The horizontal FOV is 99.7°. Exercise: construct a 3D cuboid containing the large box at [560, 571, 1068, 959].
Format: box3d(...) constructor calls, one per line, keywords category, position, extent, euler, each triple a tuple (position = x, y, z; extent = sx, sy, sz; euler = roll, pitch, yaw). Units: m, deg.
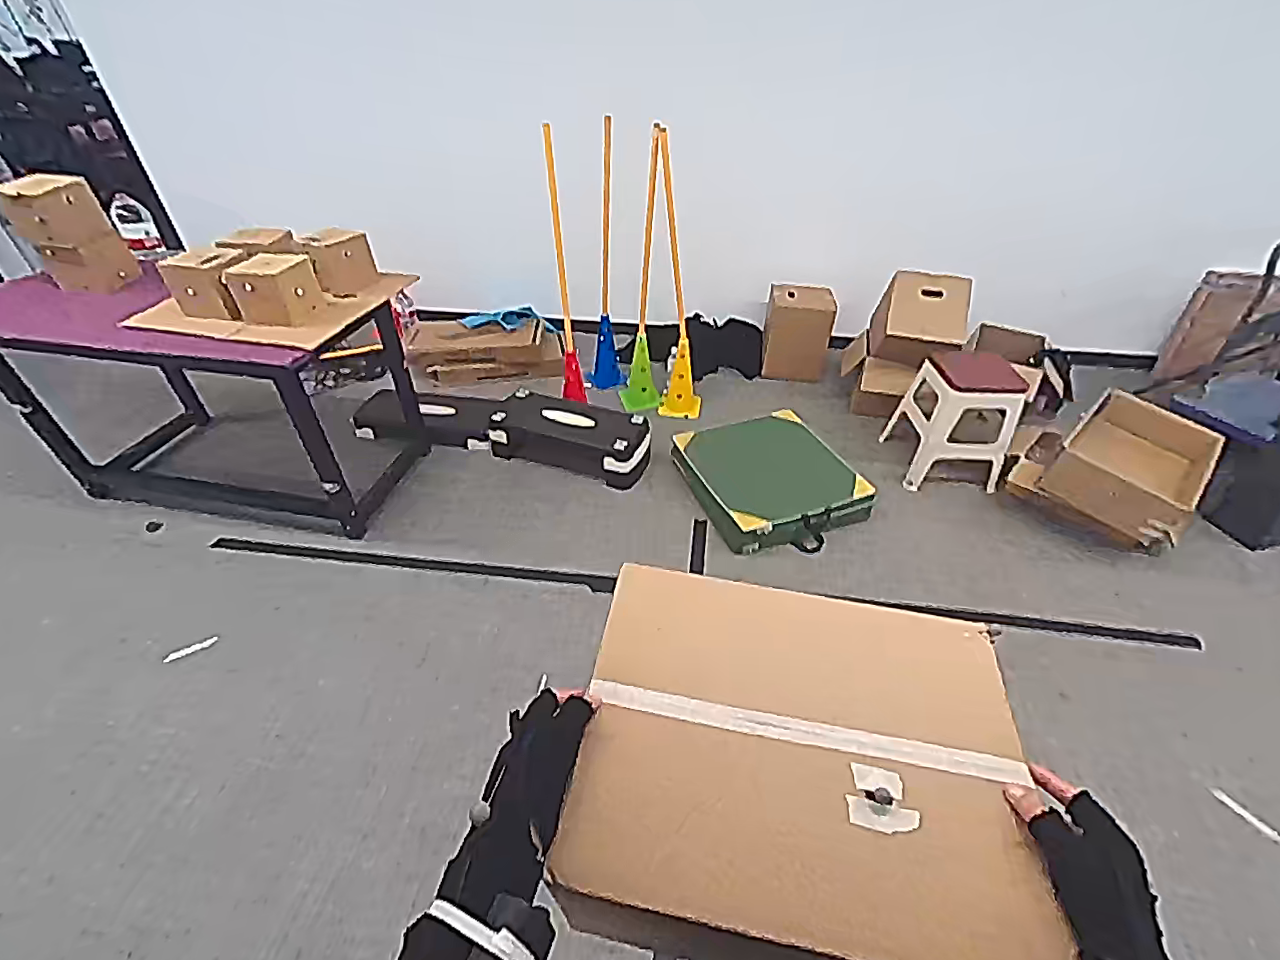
box3d(category="large box", position=(0.148, 0.345, 0.630), extent=(0.408, 0.320, 0.320), euler=(9, 46, 7))
